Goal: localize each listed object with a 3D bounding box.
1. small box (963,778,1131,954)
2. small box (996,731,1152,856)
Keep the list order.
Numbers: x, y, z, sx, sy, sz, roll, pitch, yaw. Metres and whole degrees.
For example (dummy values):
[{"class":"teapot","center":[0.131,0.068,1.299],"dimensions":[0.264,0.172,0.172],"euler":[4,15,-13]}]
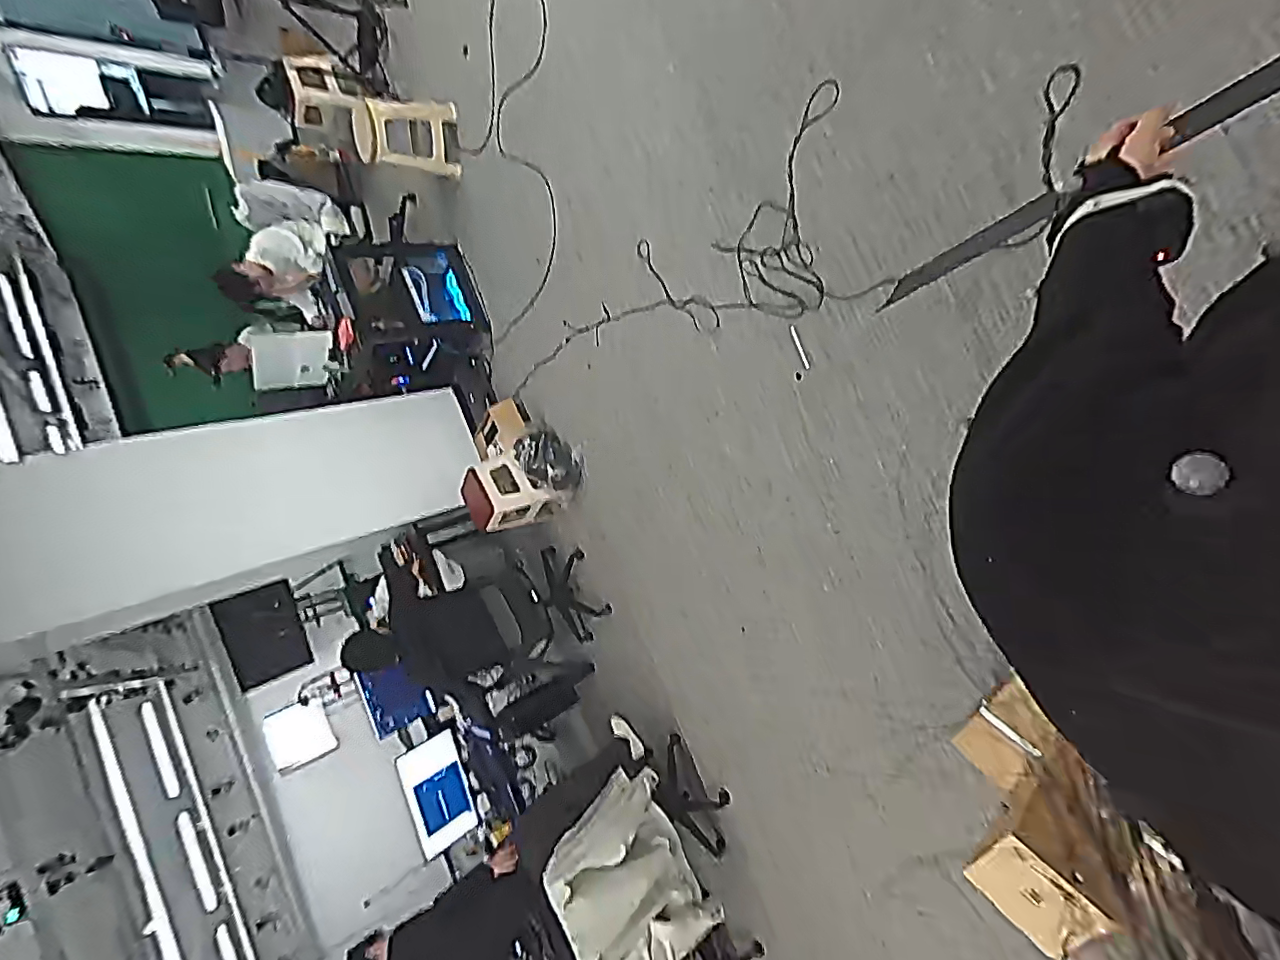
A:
[{"class":"small box","center":[0.740,0.694,0.985],"dimensions":[0.168,0.176,0.179],"euler":[40,134,35]},{"class":"small box","center":[0.867,0.648,1.080],"dimensions":[0.168,0.176,0.179],"euler":[40,133,35]}]
